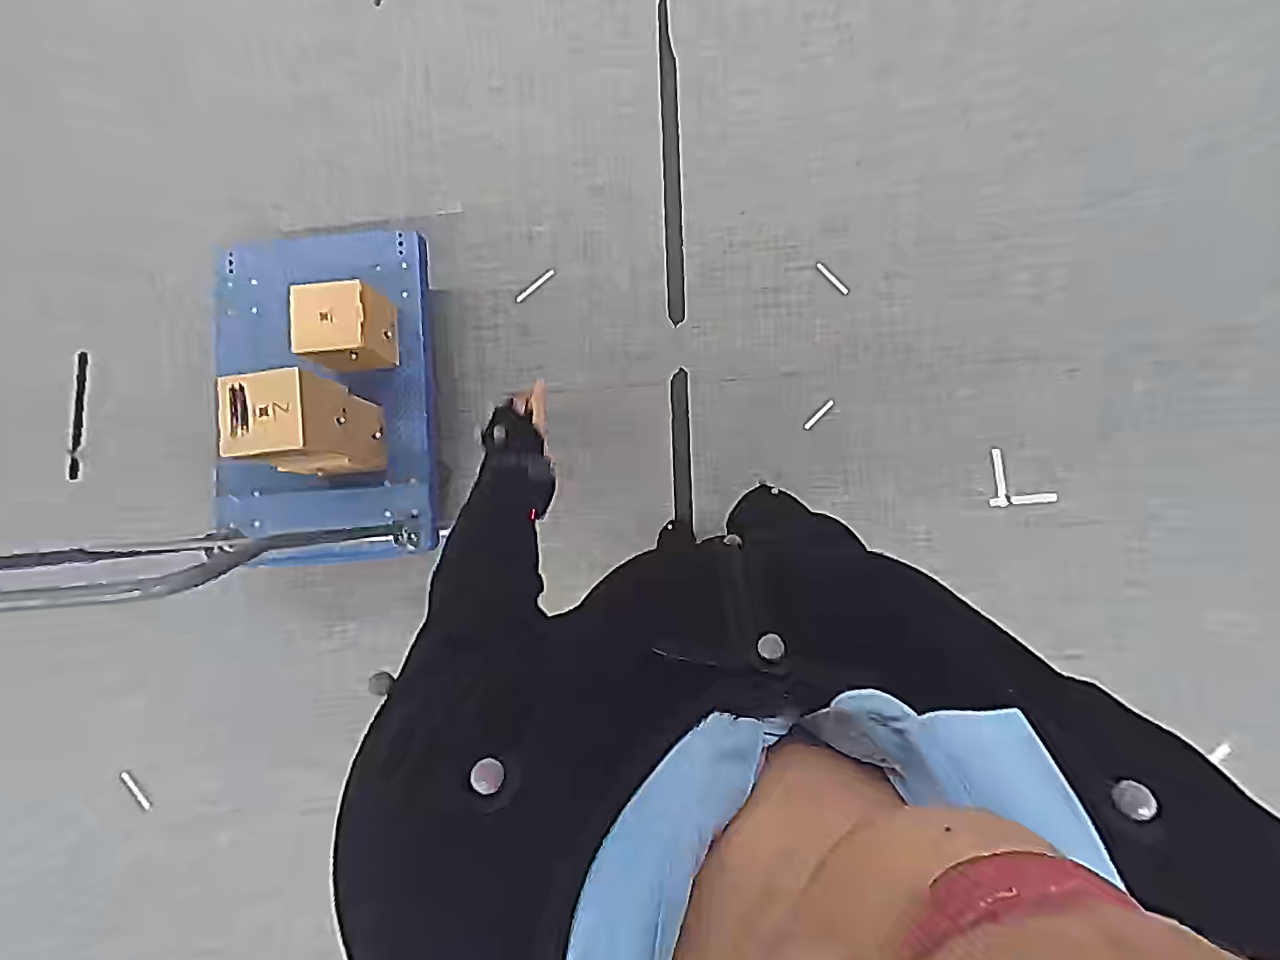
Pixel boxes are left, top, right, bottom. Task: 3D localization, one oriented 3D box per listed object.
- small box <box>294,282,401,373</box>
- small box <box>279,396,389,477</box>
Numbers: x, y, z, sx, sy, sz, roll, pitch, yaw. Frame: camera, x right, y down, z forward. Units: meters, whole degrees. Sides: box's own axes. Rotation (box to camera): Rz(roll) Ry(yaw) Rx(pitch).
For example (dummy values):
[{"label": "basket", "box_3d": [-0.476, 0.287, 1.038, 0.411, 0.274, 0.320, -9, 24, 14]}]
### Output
[{"label": "small box", "box_3d": [-0.723, -0.372, 1.347, 0.179, 0.176, 0.168, -5, 85, 4]}, {"label": "small box", "box_3d": [-0.744, -0.100, 1.325, 0.179, 0.176, 0.168, -6, 85, 3]}]
